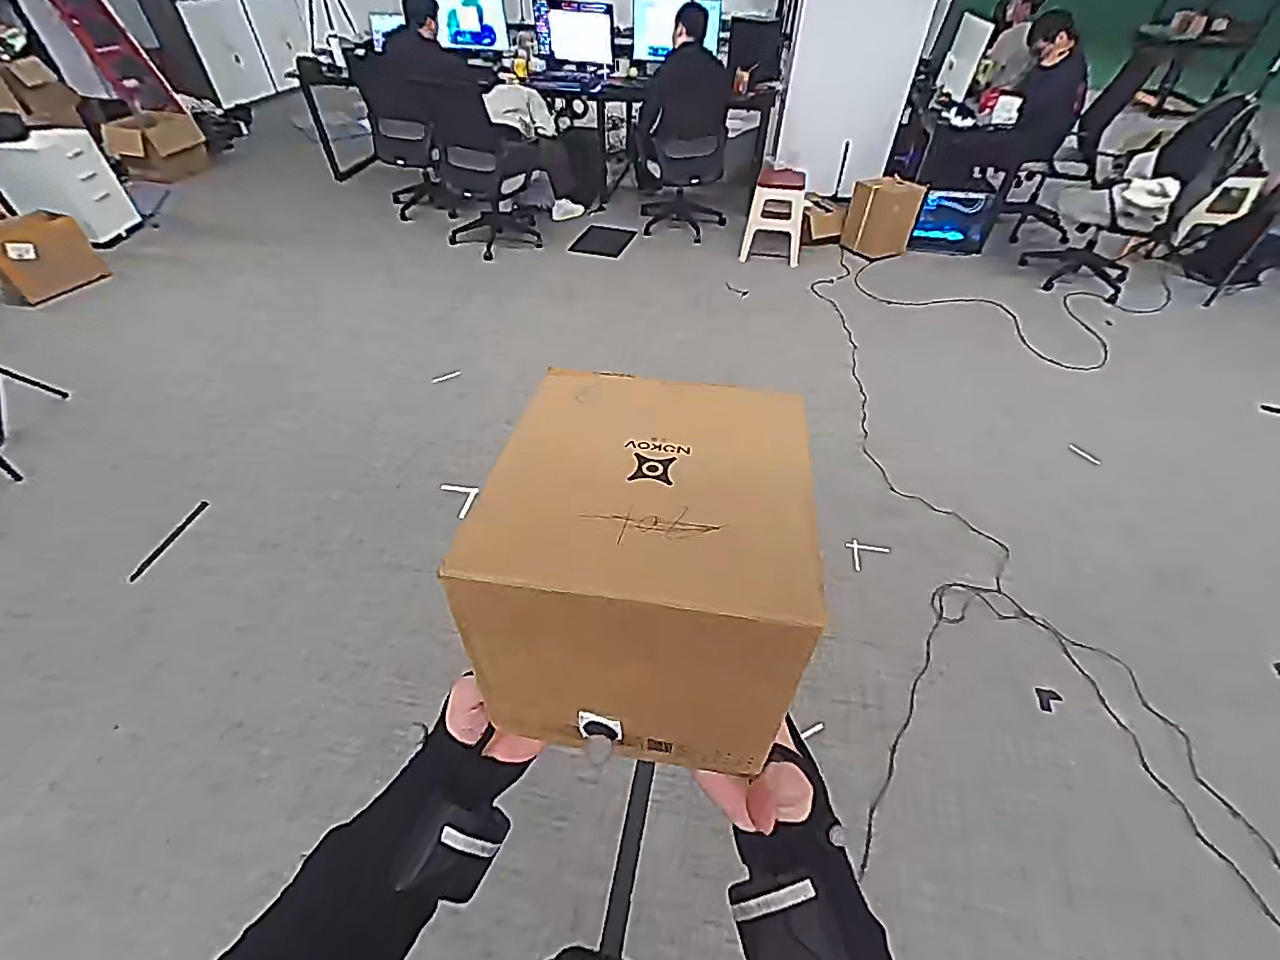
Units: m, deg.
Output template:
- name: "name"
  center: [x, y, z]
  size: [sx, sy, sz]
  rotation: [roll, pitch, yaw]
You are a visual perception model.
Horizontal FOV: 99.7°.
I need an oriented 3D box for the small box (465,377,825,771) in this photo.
- name: "small box"
  center: [0.010, 0.056, 0.351]
  size: [0.168, 0.176, 0.179]
  rotation: [6, 43, 6]
